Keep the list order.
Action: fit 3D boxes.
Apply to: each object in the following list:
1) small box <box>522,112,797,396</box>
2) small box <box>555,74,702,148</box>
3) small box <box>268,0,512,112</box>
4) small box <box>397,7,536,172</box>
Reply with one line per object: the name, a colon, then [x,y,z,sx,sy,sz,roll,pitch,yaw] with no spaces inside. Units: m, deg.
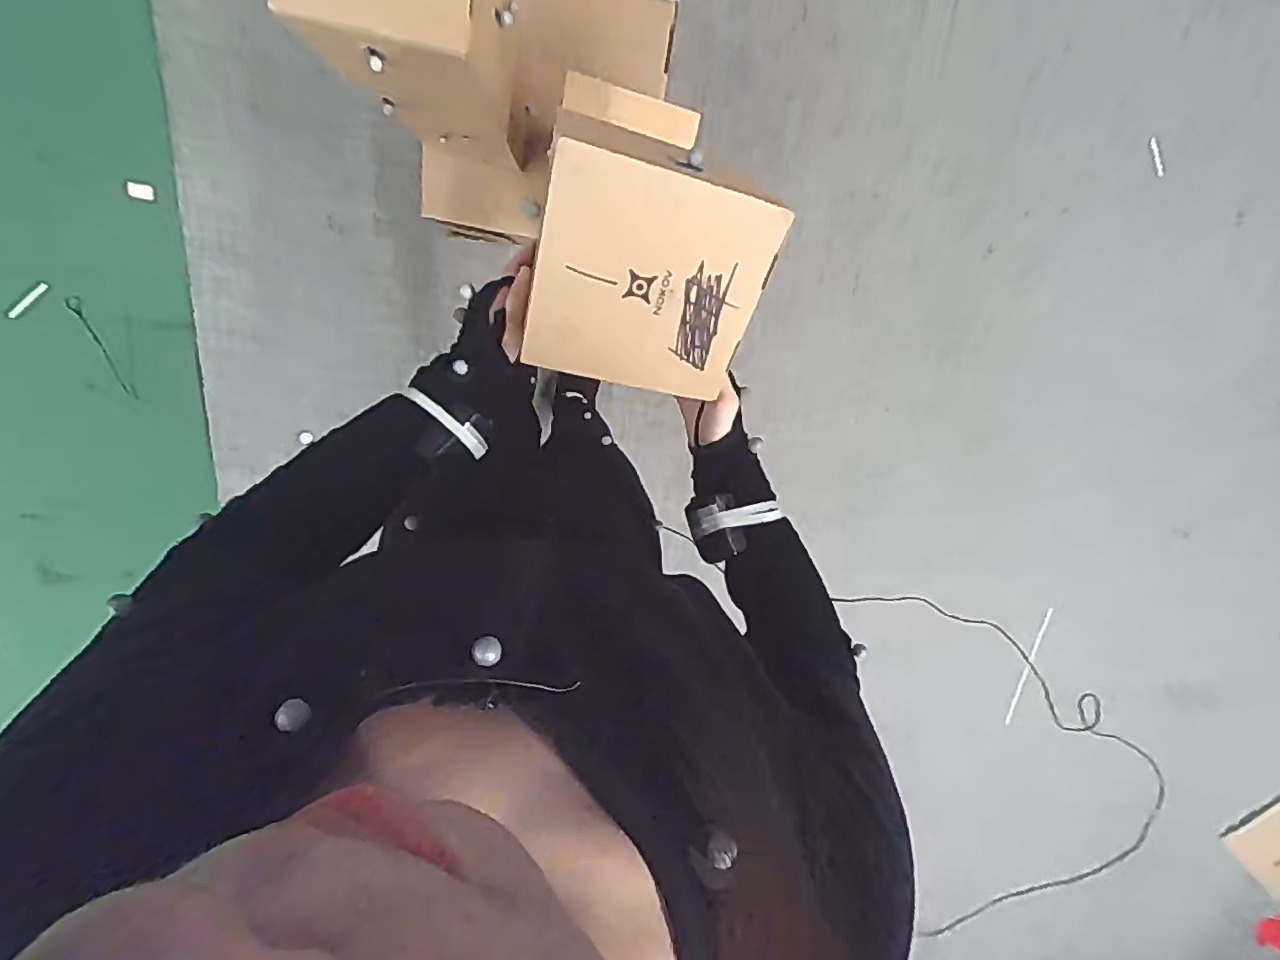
small box: [0.001,-0.200,0.475,0.179,0.176,0.168,10,127,-15]
small box: [-0.033,-0.425,0.763,0.179,0.176,0.168,11,107,-10]
small box: [-0.233,-0.500,0.539,0.179,0.176,0.168,9,107,-8]
small box: [-0.261,-0.615,0.847,0.168,0.176,0.179,11,106,-9]
